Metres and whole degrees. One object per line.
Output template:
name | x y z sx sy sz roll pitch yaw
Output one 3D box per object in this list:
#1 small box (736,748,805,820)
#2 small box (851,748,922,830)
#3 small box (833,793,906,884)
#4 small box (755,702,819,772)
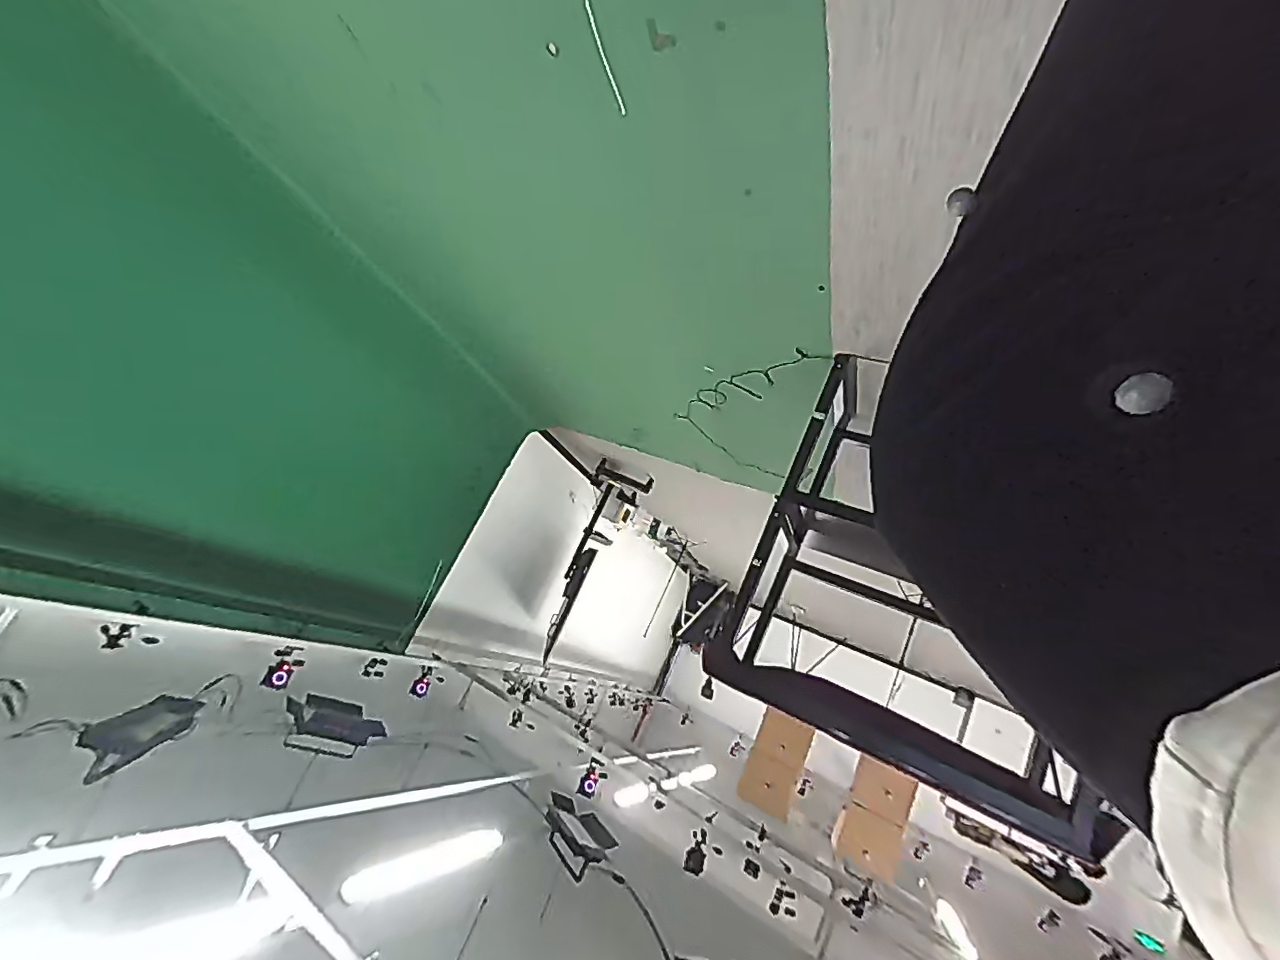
small box | 0.468 1.070 1.926 0.179 0.176 0.168 17 164 29
small box | 0.827 1.031 1.818 0.179 0.176 0.168 19 166 25
small box | 0.754 1.174 1.784 0.179 0.176 0.168 21 166 24
small box | 0.541 0.928 1.963 0.179 0.176 0.168 19 164 28
